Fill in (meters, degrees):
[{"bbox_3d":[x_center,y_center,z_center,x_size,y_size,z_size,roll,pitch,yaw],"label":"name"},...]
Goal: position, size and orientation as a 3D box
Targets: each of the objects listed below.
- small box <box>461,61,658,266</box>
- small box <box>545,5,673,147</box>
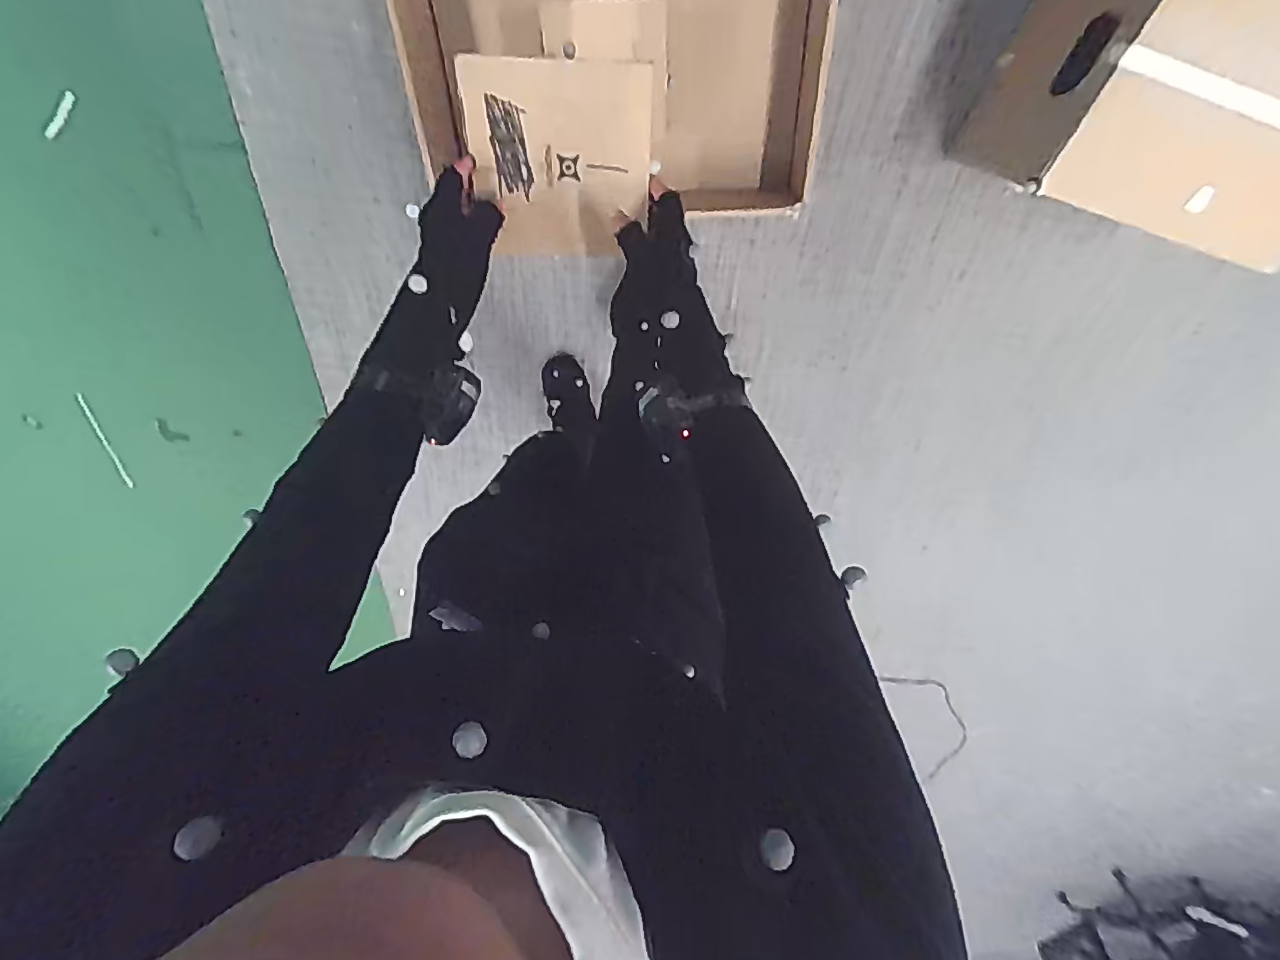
[{"bbox_3d":[-0.075,-0.338,0.584,0.179,0.176,0.168,1,124,-2],"label":"small box"},{"bbox_3d":[-0.038,-0.620,0.839,0.179,0.176,0.168,0,128,2],"label":"small box"}]
